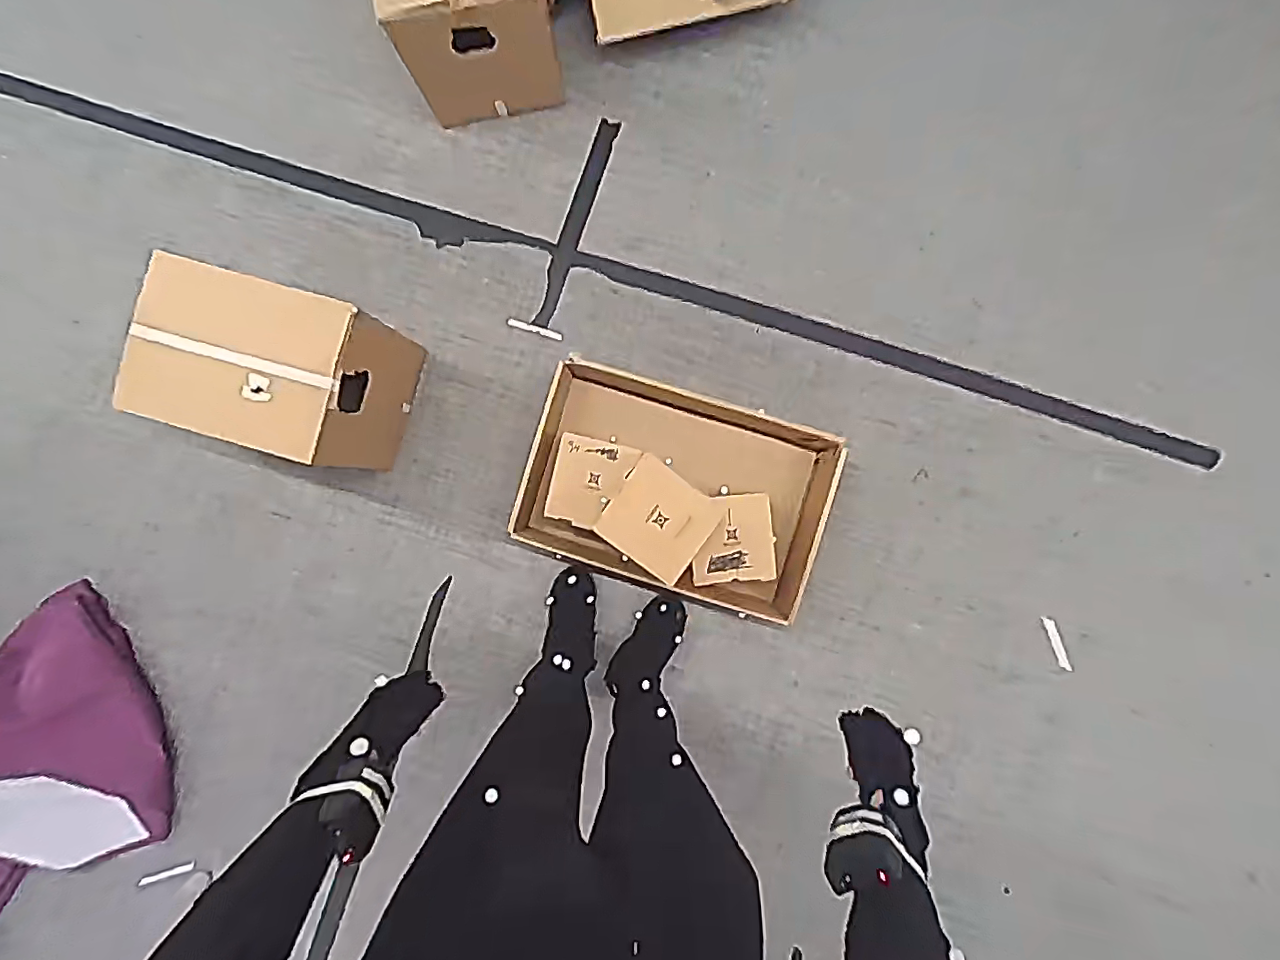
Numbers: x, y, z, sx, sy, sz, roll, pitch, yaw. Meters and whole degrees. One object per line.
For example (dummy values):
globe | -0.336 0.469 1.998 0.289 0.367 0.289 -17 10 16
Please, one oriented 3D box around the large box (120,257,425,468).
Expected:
large box | -0.749 -0.226 1.163 0.408 0.320 0.320 15 90 1
